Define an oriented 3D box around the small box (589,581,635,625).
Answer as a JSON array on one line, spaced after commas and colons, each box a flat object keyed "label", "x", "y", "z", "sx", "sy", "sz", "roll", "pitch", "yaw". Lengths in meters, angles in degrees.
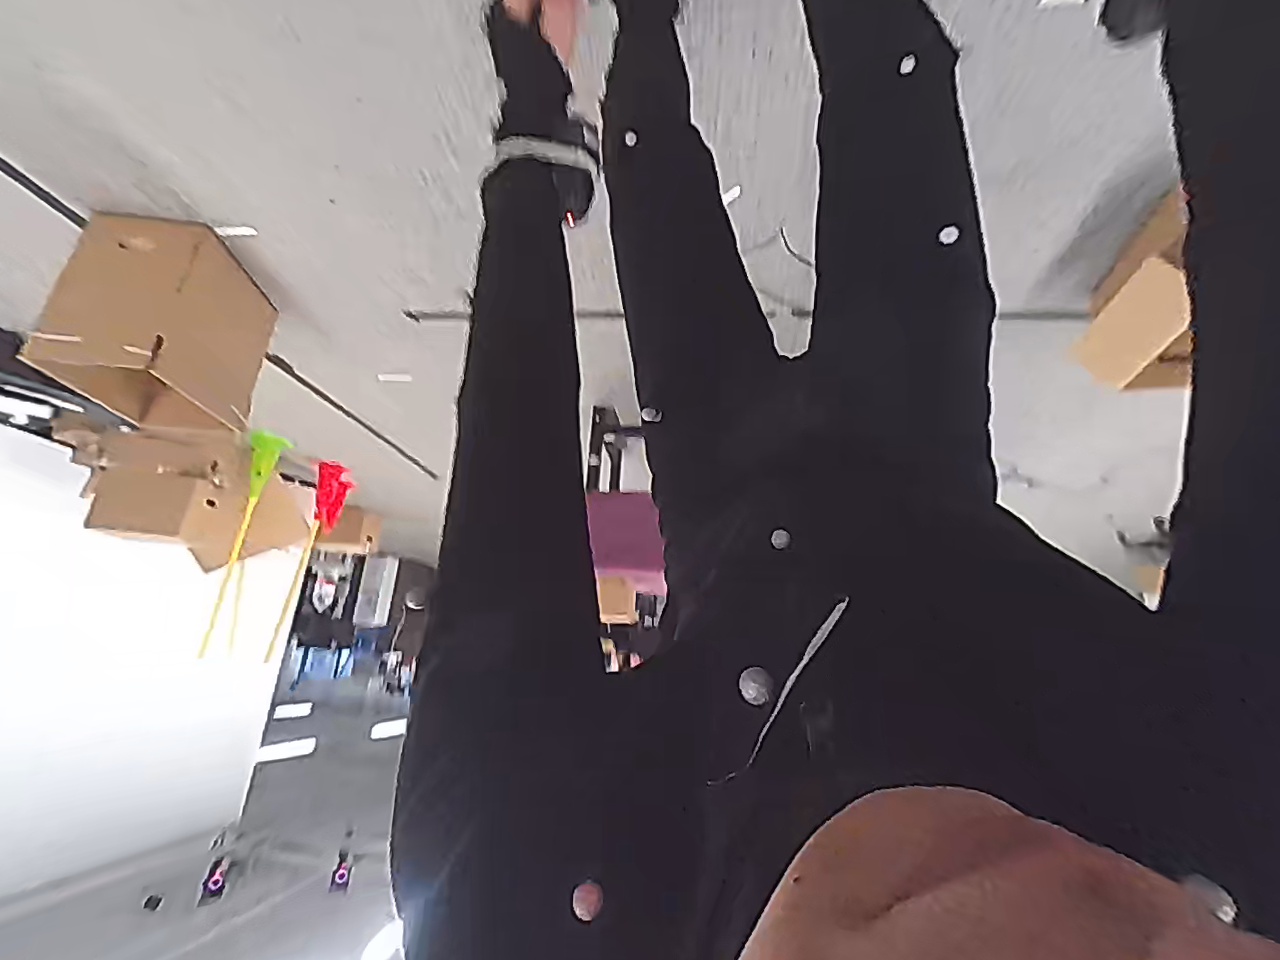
[{"label": "small box", "x": -0.118, "y": 0.527, "z": 2.317, "sx": 0.168, "sy": 0.176, "sz": 0.179, "roll": -1, "pitch": 161, "yaw": 11}]
